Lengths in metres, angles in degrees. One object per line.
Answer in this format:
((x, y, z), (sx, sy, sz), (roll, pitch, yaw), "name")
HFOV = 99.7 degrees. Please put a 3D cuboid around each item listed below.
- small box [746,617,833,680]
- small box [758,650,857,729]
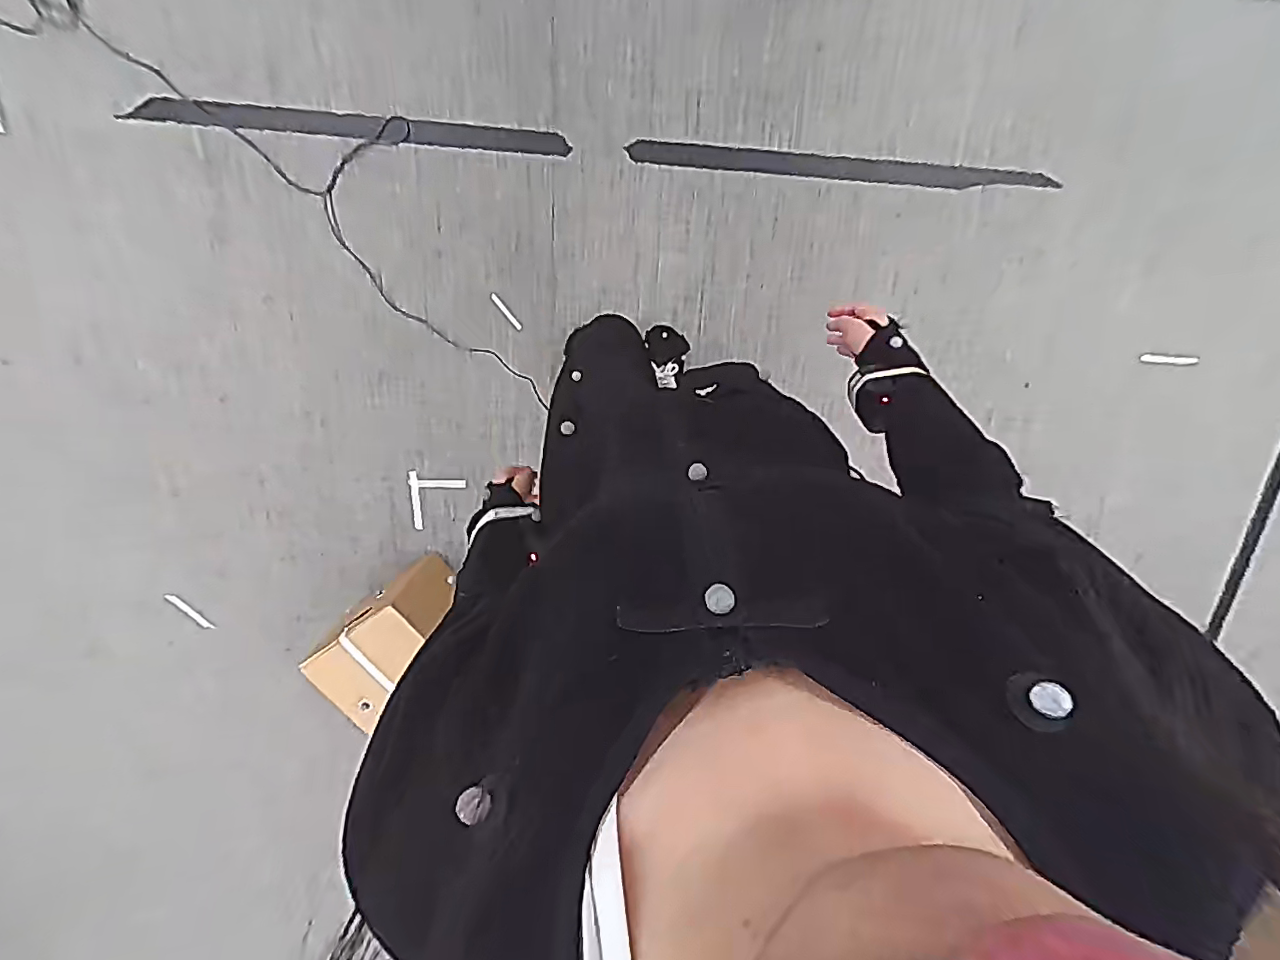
((0.428, 0.530, 1.551), (0.168, 0.176, 0.179), (-37, 104, 9), "small box")
((0.433, 0.580, 1.397), (0.168, 0.176, 0.179), (-38, 104, 9), "small box")
